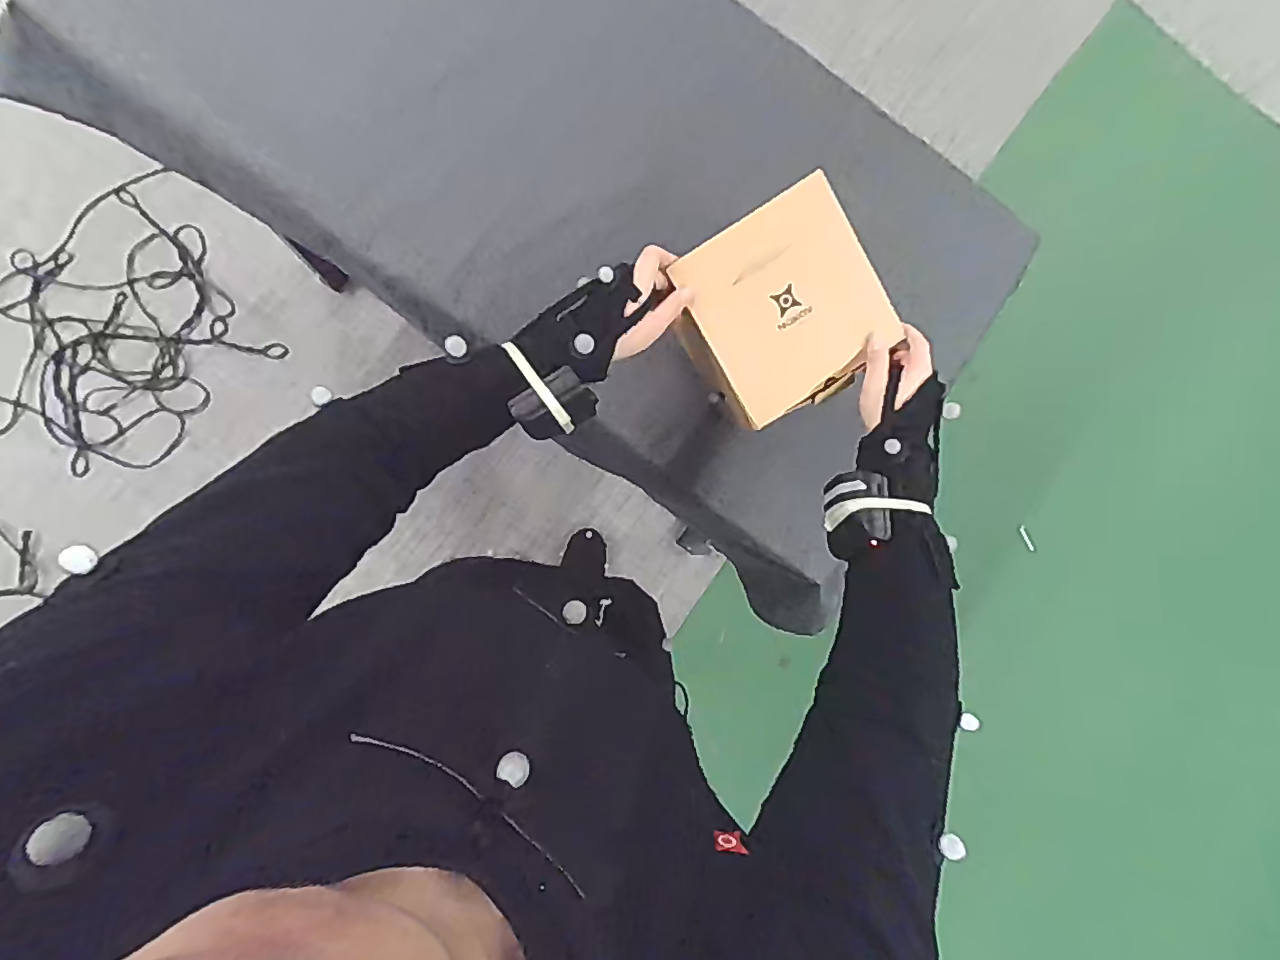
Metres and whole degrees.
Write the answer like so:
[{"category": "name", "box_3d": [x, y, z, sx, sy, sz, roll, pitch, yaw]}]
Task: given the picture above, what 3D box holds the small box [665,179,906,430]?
[{"category": "small box", "box_3d": [0.140, -0.173, 0.584, 0.168, 0.176, 0.179, -32, 97, 4]}]
